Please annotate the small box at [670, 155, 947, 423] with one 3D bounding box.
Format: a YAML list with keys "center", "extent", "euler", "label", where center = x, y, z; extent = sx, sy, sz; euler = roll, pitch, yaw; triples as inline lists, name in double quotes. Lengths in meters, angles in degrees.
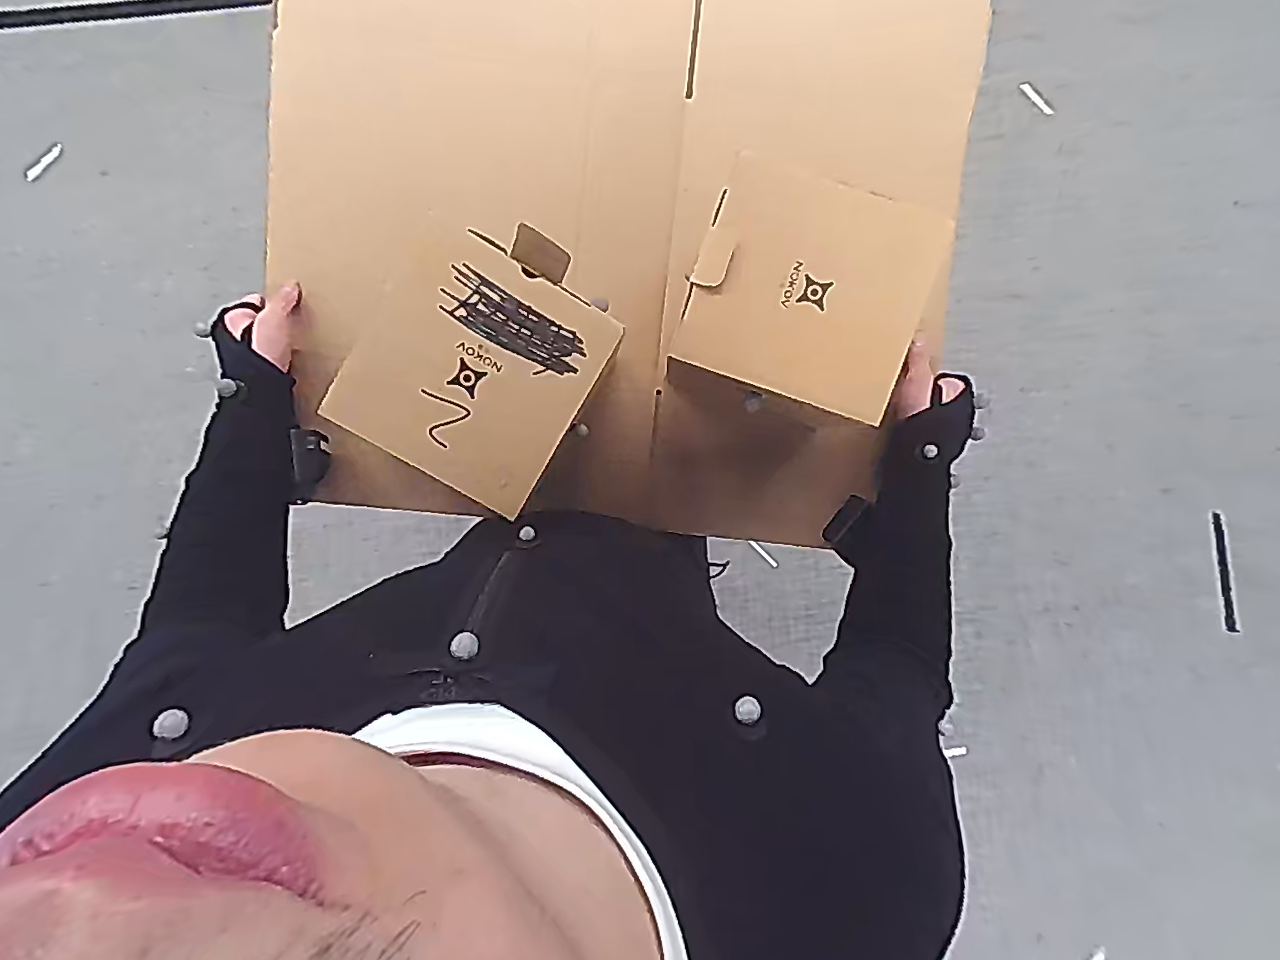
- center: [0.136, -0.159, 0.507]
  extent: [0.179, 0.176, 0.168]
  euler: [19, 96, 2]
  label: "small box"
